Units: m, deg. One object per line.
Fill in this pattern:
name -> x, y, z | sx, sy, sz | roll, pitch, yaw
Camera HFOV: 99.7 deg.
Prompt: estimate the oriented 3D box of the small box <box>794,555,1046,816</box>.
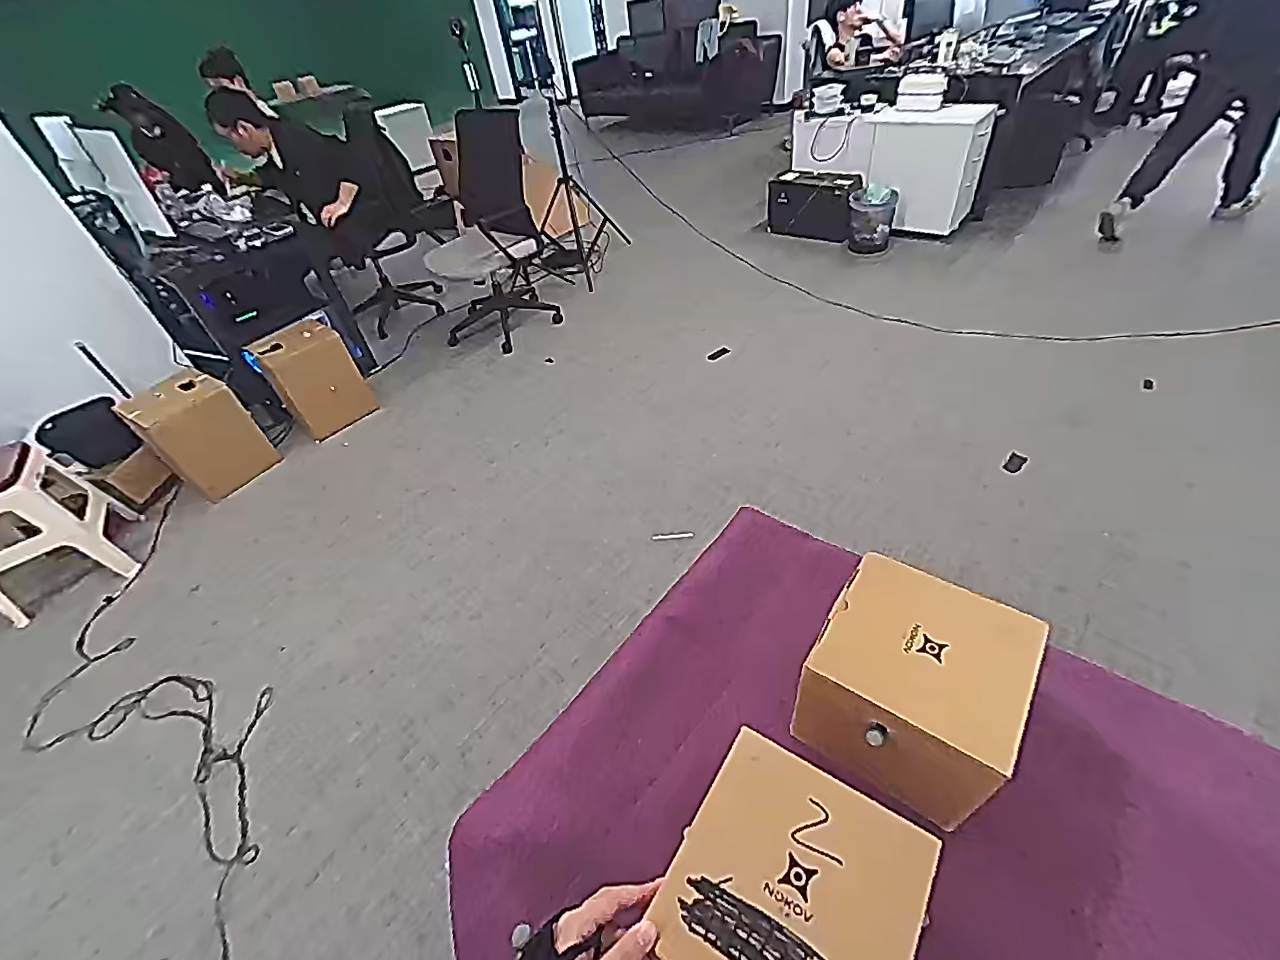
small box -> 0.281, 0.218, 0.571 | 0.179, 0.176, 0.168 | 23, 52, 30
